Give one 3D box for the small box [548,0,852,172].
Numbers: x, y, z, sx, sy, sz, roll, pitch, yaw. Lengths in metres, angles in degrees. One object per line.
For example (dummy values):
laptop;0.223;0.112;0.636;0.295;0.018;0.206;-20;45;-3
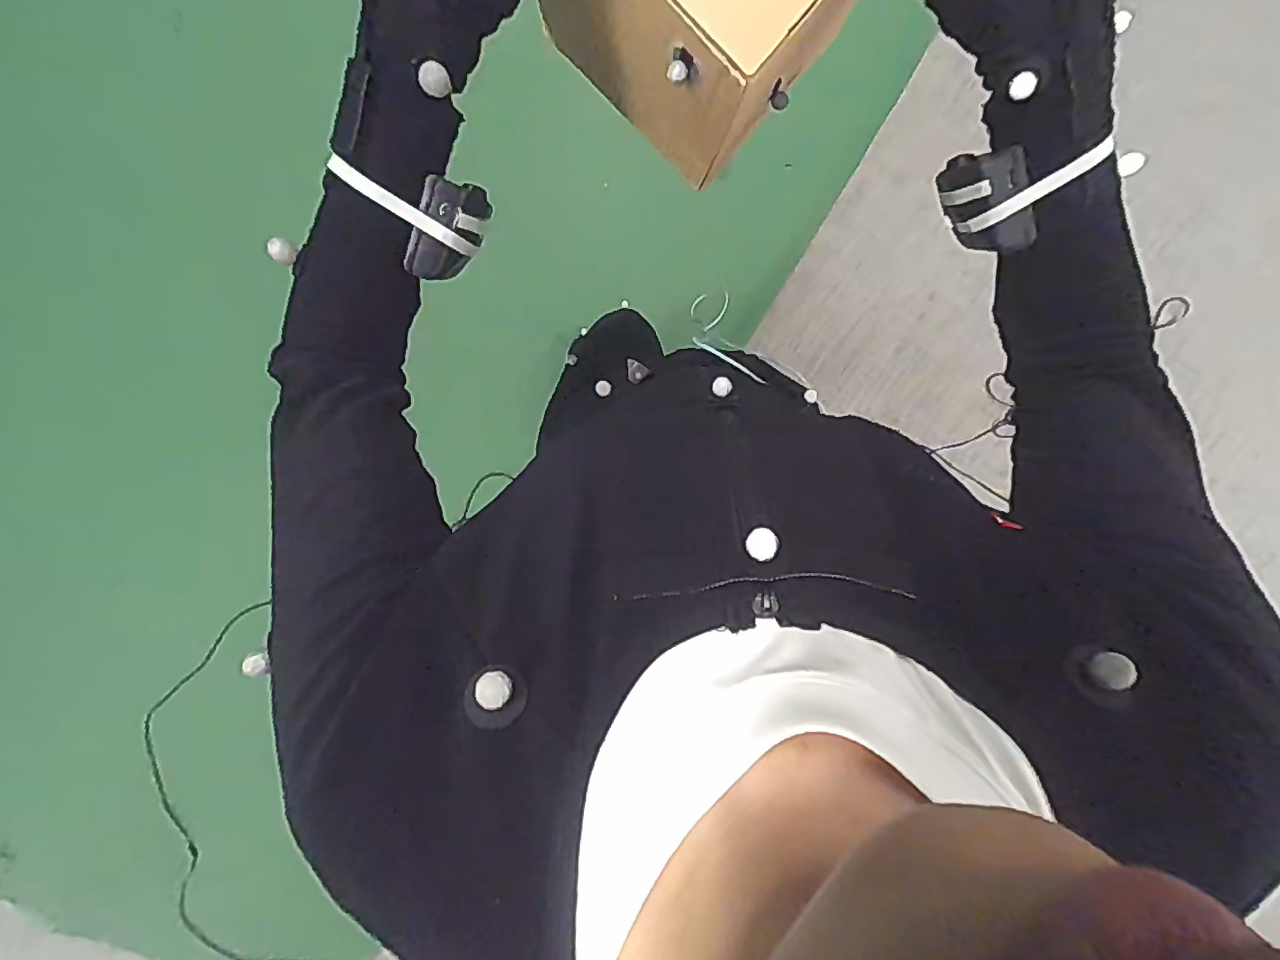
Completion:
small box;0.045;-0.354;0.363;0.179;0.176;0.168;41;95;-10
